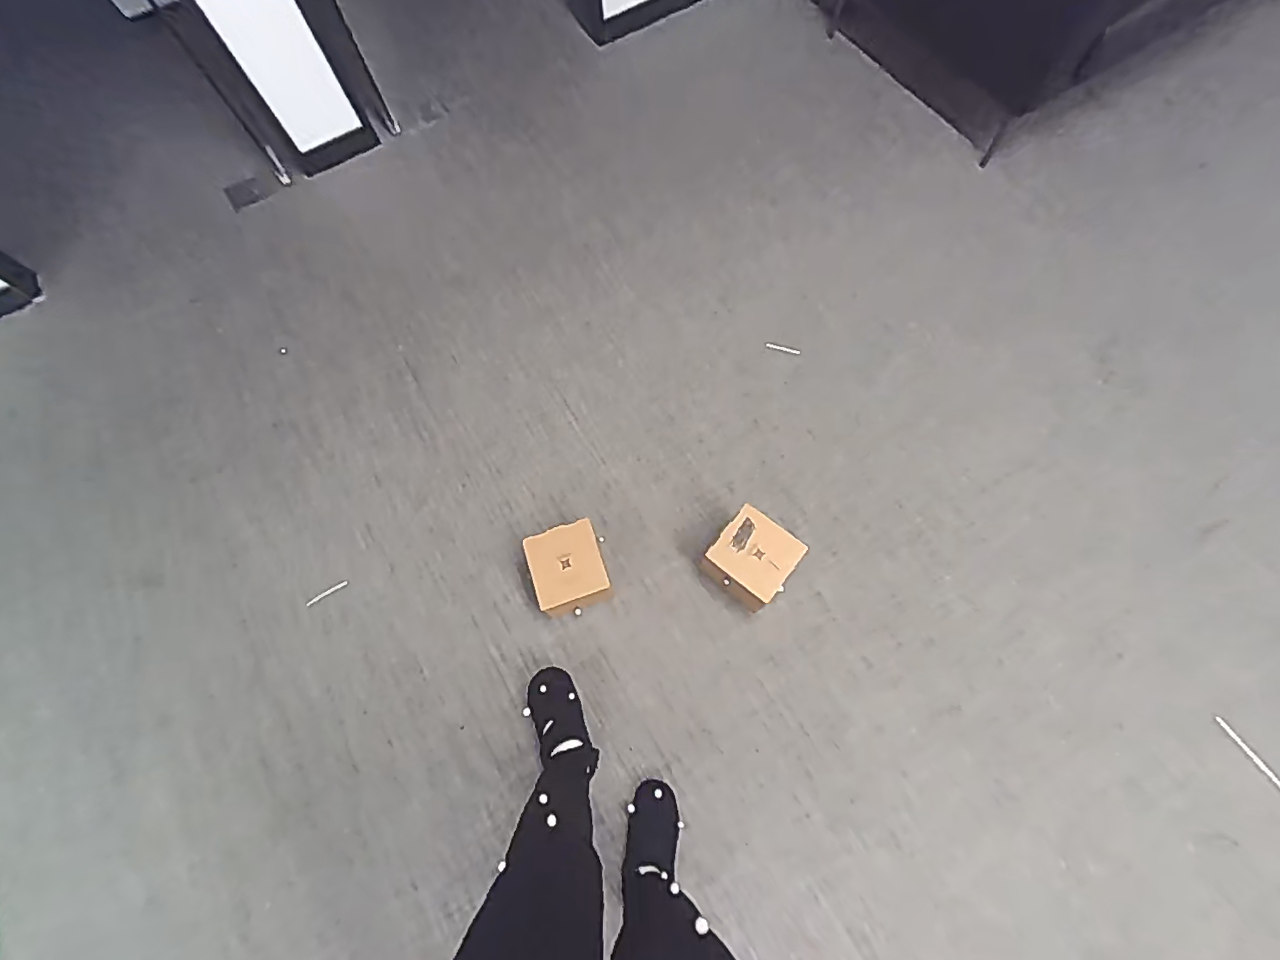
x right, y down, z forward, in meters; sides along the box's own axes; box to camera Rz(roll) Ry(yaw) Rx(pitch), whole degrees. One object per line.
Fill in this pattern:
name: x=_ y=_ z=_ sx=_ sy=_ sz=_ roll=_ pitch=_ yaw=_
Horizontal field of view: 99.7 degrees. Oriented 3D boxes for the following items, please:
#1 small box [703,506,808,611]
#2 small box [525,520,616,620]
small box: x=0.267 y=0.196 z=1.300 sx=0.179 sy=0.176 sz=0.168 roll=37 pitch=76 yaw=15
small box: x=-0.164 y=0.223 z=1.310 sx=0.168 sy=0.176 sz=0.179 roll=-19 pitch=69 yaw=-4
